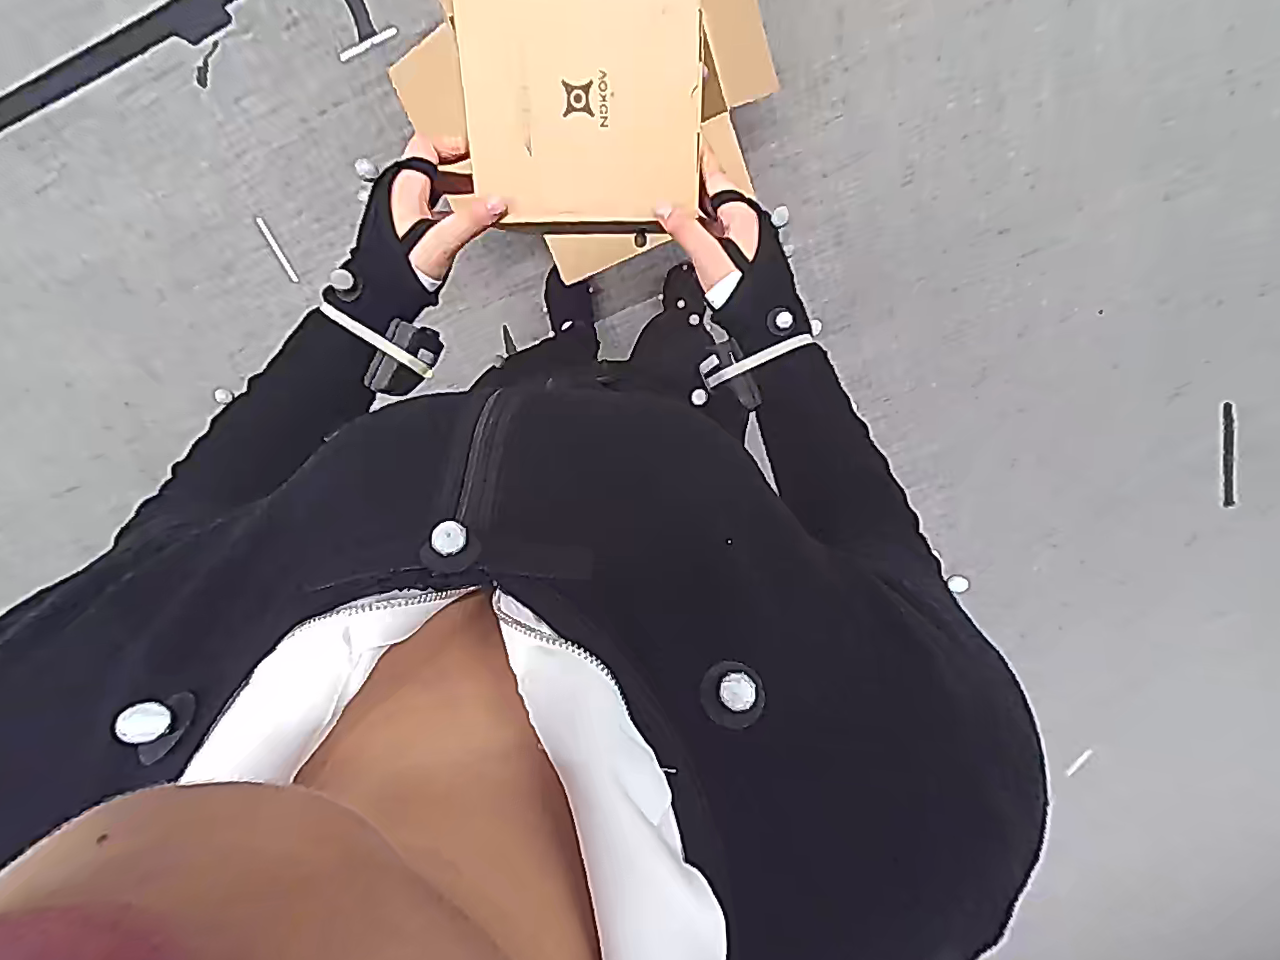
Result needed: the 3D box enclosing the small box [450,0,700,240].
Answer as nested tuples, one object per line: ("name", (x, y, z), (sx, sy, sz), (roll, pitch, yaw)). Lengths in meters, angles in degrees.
("small box", (-0.046, -0.306, 0.473), (0.179, 0.176, 0.168), (-2, 110, -1))
